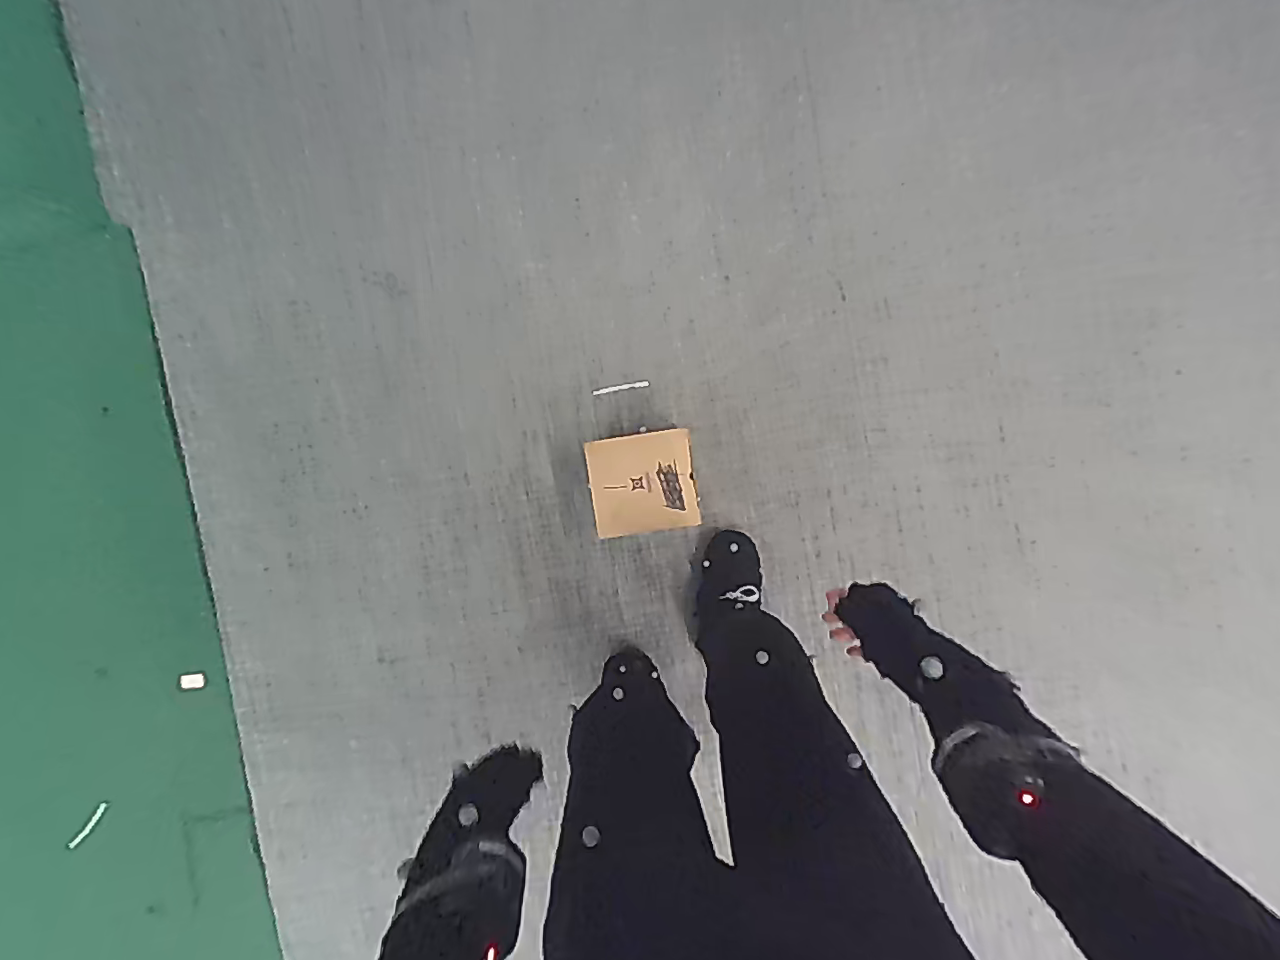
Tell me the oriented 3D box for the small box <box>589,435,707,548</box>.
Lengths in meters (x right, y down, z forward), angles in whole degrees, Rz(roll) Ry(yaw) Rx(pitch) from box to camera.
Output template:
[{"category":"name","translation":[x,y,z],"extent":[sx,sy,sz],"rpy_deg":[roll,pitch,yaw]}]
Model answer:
[{"category":"small box","translation":[0.013,0.015,0.981],"extent":[0.179,0.176,0.168],"rpy_deg":[-12,92,1]}]
